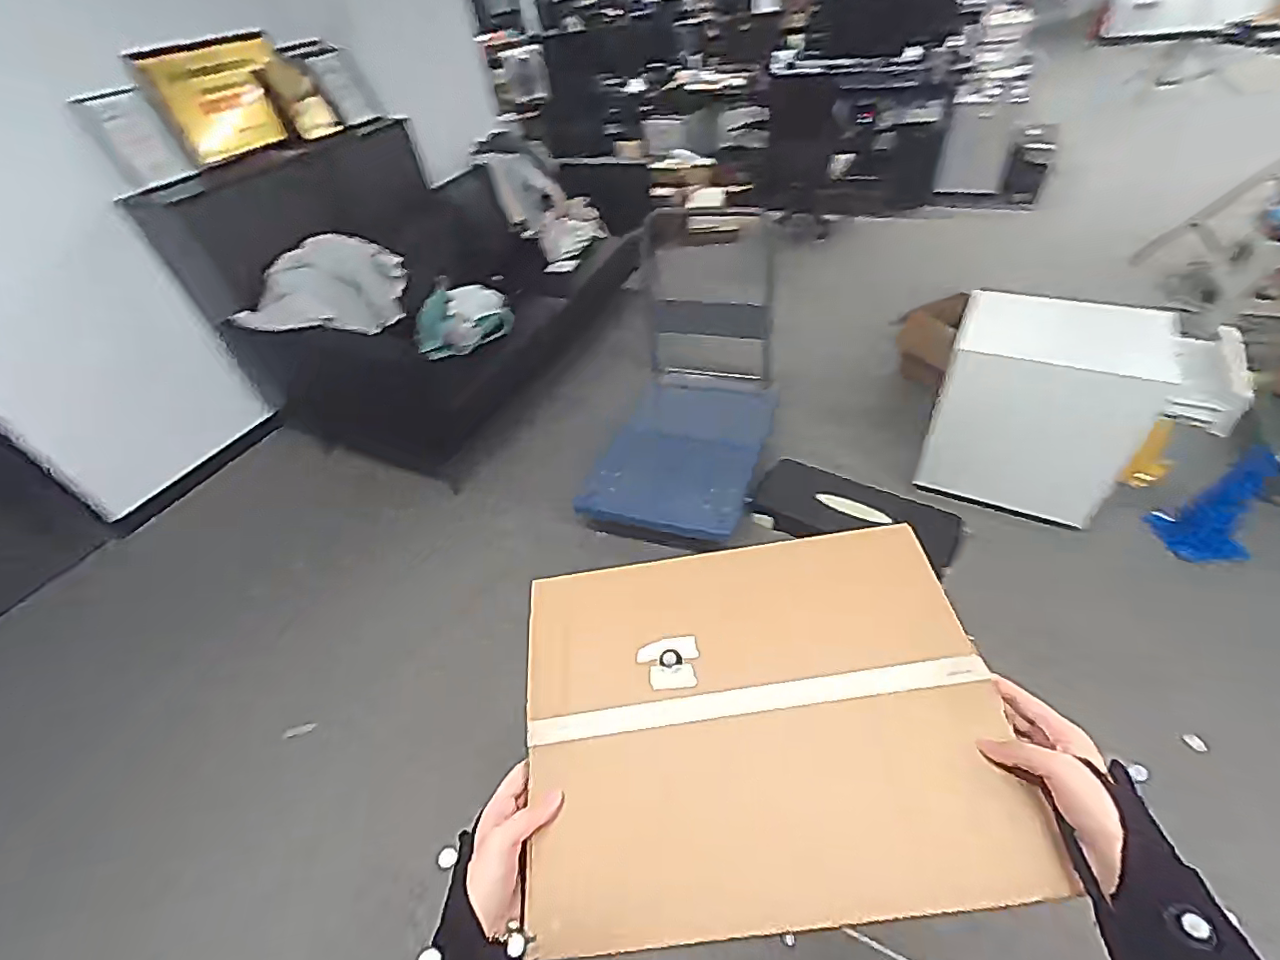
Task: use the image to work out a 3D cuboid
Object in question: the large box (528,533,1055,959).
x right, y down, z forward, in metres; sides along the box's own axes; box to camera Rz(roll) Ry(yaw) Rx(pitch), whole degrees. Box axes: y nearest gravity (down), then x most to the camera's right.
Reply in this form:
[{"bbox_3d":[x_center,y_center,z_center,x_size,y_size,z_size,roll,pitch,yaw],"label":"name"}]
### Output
[{"bbox_3d":[0.116,0.301,0.608,0.408,0.320,0.320,-11,51,3],"label":"large box"}]
